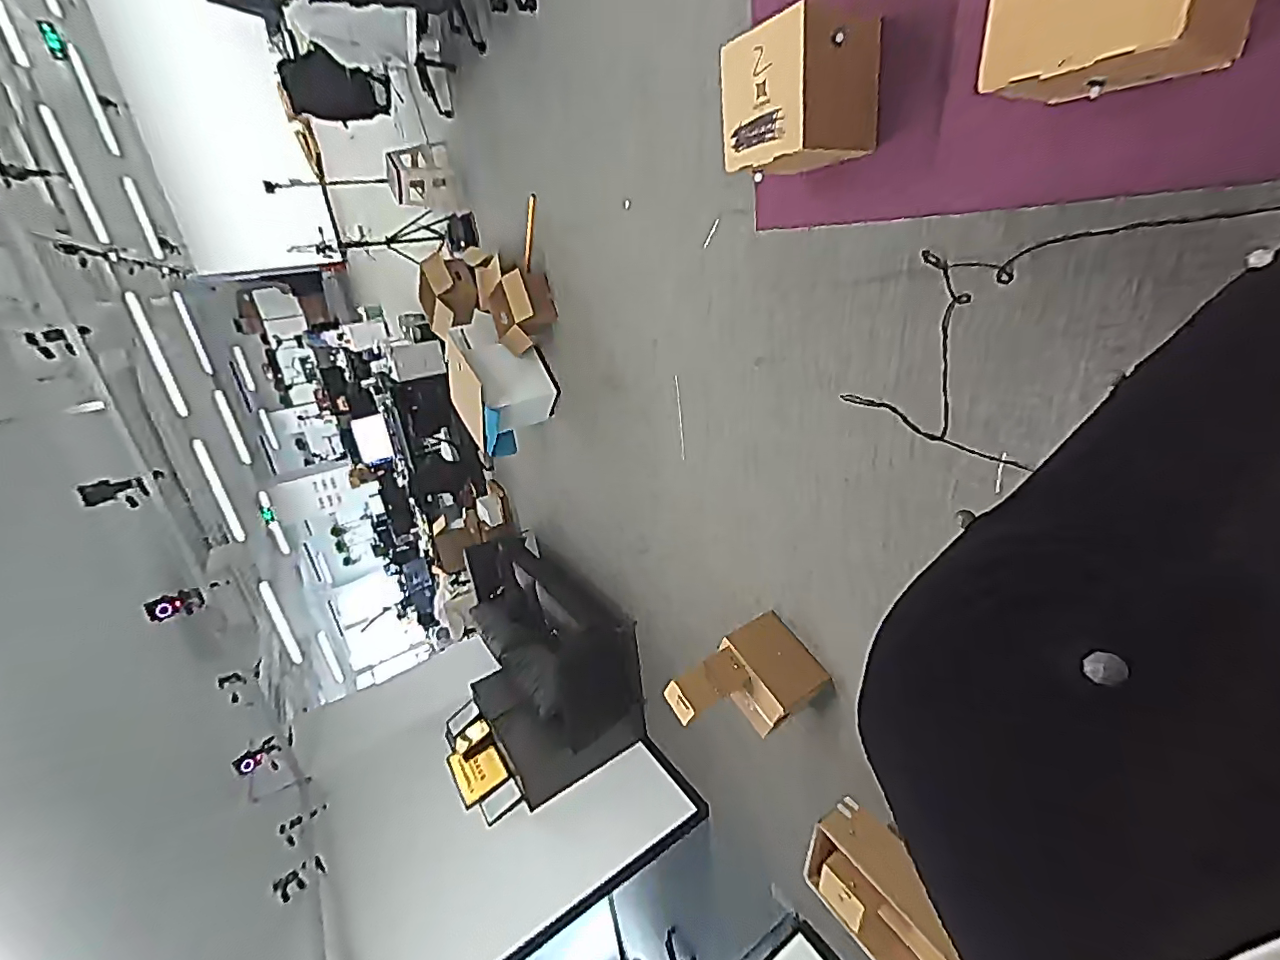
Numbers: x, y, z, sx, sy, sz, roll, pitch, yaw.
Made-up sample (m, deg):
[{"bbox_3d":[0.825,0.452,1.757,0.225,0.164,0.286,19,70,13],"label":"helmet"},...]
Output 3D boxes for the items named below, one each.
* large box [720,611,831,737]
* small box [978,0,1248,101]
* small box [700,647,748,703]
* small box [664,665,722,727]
[{"bbox_3d":[0.612,0.909,2.569,0.408,0.320,0.320,47,145,33],"label":"large box"},{"bbox_3d":[0.468,-0.492,0.524,0.168,0.176,0.179,27,130,51],"label":"small box"},{"bbox_3d":[0.367,0.900,2.472,0.168,0.176,0.179,52,145,28],"label":"small box"},{"bbox_3d":[0.237,0.947,2.385,0.168,0.176,0.179,52,146,28],"label":"small box"}]
